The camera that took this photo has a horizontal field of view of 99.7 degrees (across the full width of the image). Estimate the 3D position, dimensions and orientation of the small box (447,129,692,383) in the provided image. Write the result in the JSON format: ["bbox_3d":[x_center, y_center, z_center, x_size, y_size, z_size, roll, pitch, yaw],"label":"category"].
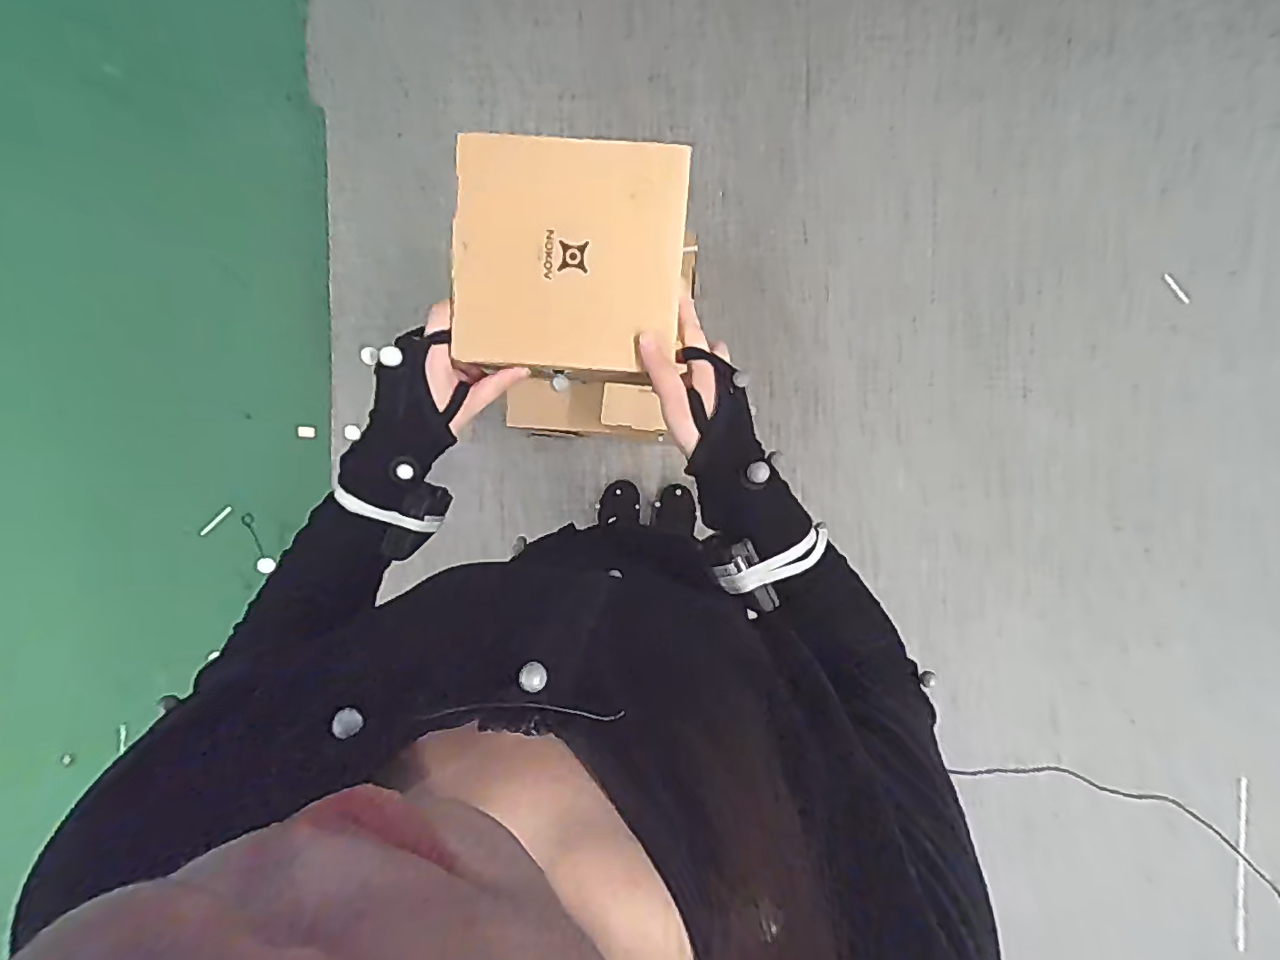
[{"bbox_3d":[-0.053,-0.177,0.481,0.179,0.176,0.168,5,97,2],"label":"small box"}]

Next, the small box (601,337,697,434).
[{"bbox_3d":[0.020,-0.191,1.102,0.168,0.176,0.179,7,91,1],"label":"small box"}]
